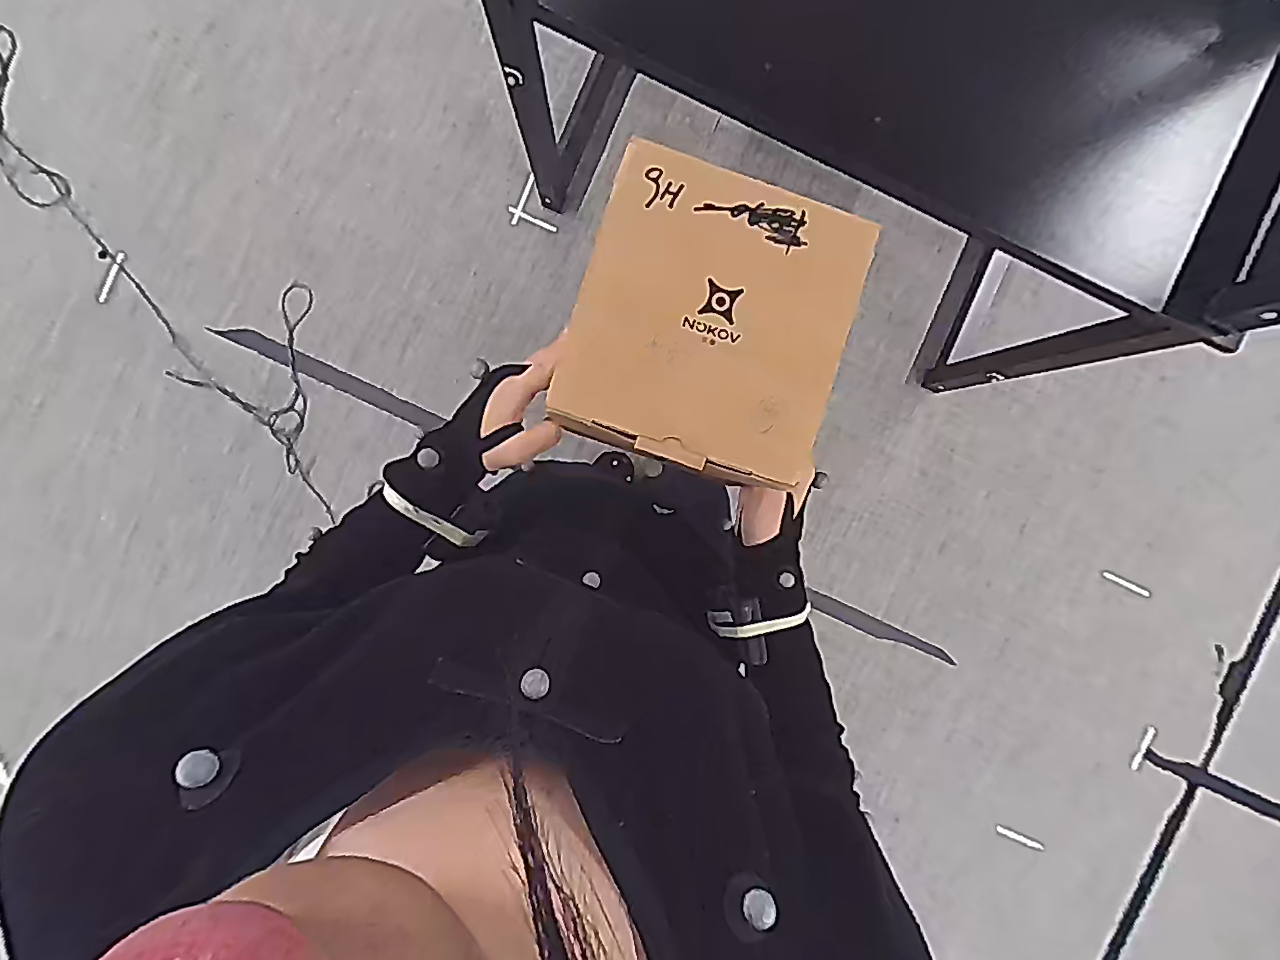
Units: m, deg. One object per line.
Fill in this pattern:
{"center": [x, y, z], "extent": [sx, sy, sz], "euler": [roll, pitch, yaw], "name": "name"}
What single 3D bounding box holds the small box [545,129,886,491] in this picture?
{"center": [0.042, -0.102, 0.402], "extent": [0.168, 0.176, 0.179], "euler": [18, 90, -4], "name": "small box"}
